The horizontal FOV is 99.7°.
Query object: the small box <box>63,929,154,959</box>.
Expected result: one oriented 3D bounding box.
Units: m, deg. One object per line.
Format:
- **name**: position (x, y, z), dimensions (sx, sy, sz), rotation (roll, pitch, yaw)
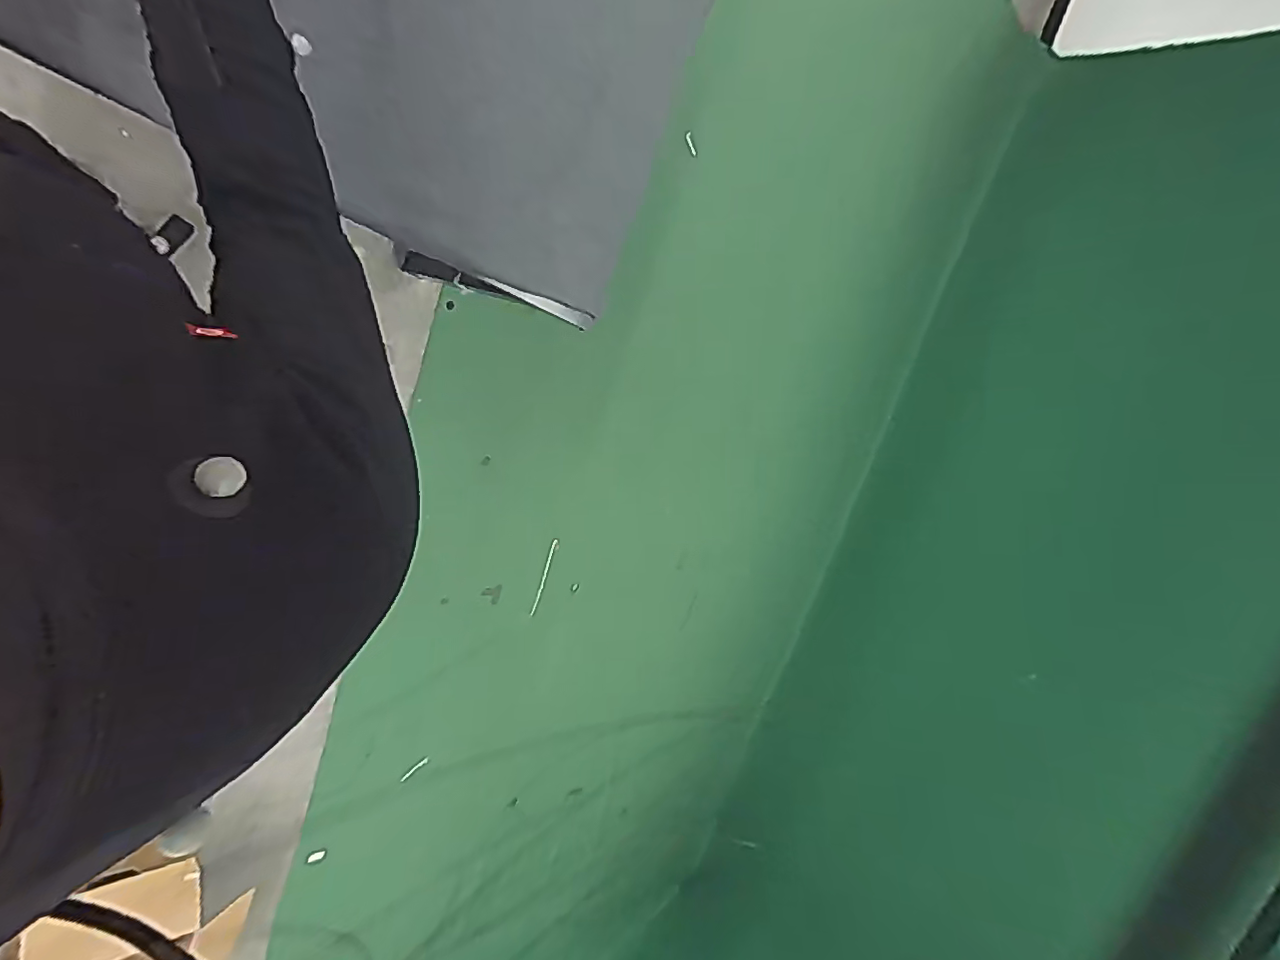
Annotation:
- **small box**: position (-1.238, 1.189, 1.227), dimensions (0.179, 0.176, 0.168), rotation (11, 105, -44)
